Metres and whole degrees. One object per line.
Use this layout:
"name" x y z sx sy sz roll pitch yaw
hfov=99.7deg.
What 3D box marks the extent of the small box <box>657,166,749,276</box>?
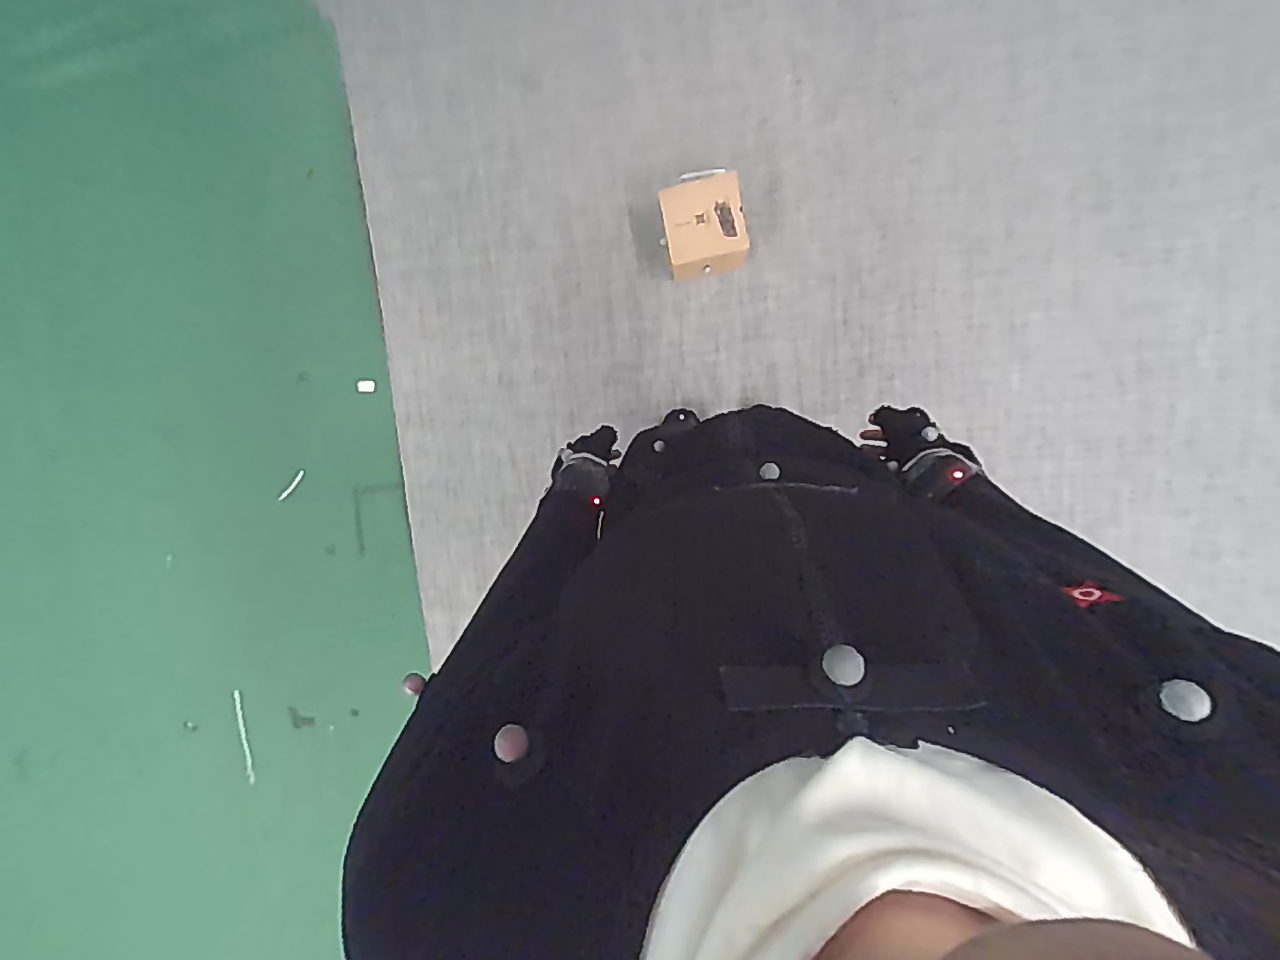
"small box" 0.144 -0.593 1.262 0.179 0.176 0.168 -14 97 7
